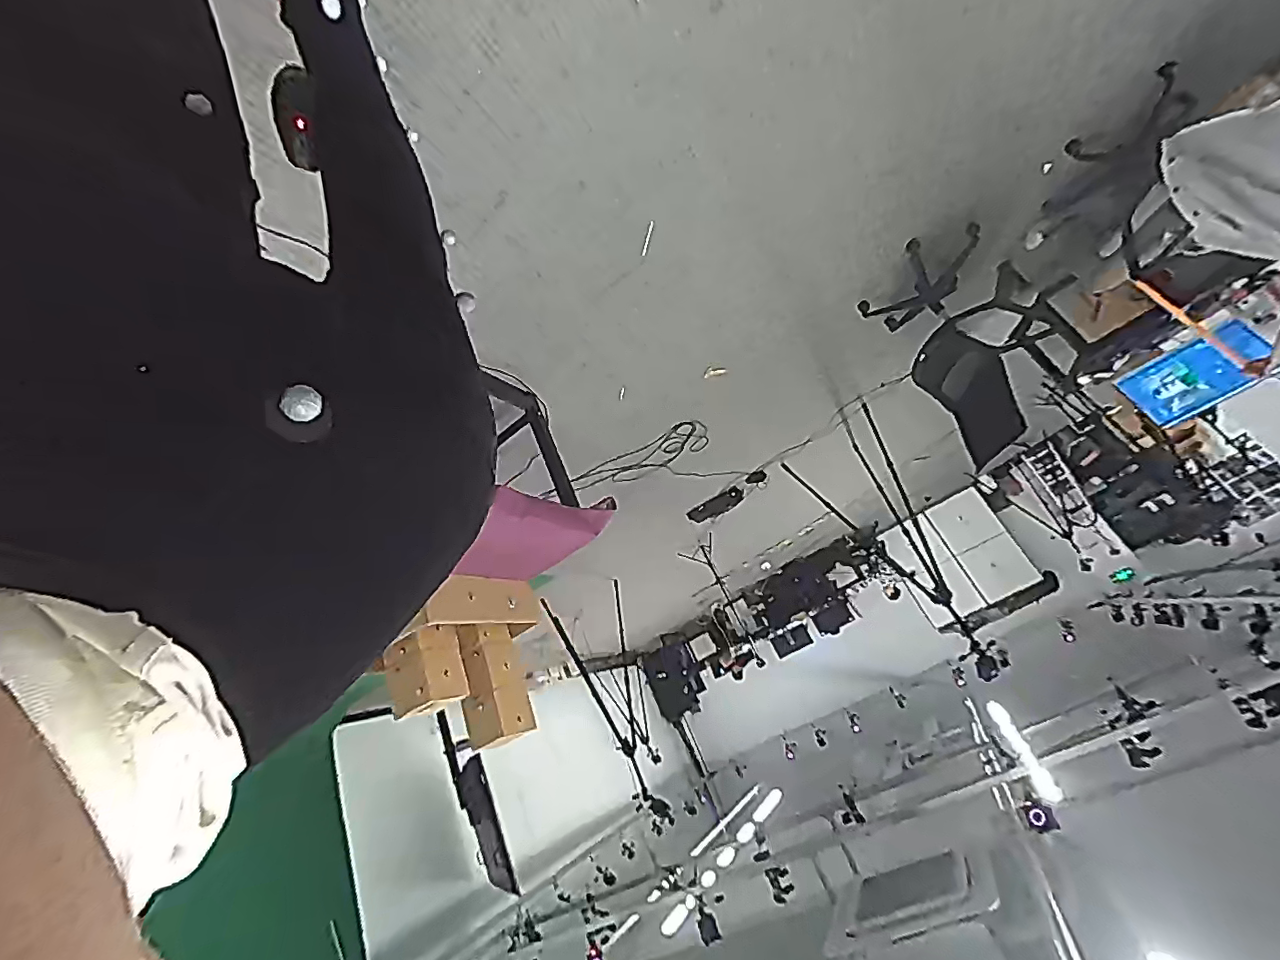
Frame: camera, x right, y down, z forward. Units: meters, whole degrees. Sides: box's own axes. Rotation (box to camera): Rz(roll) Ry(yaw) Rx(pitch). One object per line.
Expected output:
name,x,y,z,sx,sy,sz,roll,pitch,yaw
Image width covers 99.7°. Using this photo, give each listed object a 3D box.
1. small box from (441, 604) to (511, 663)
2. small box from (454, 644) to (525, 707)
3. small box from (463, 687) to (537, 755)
small box,-0.634,0.590,2.085,0.168,0.176,0.179,-33,153,18
small box,-0.567,0.727,2.022,0.168,0.176,0.179,-33,154,18
small box,-0.508,0.862,1.953,0.168,0.176,0.179,-34,153,18
